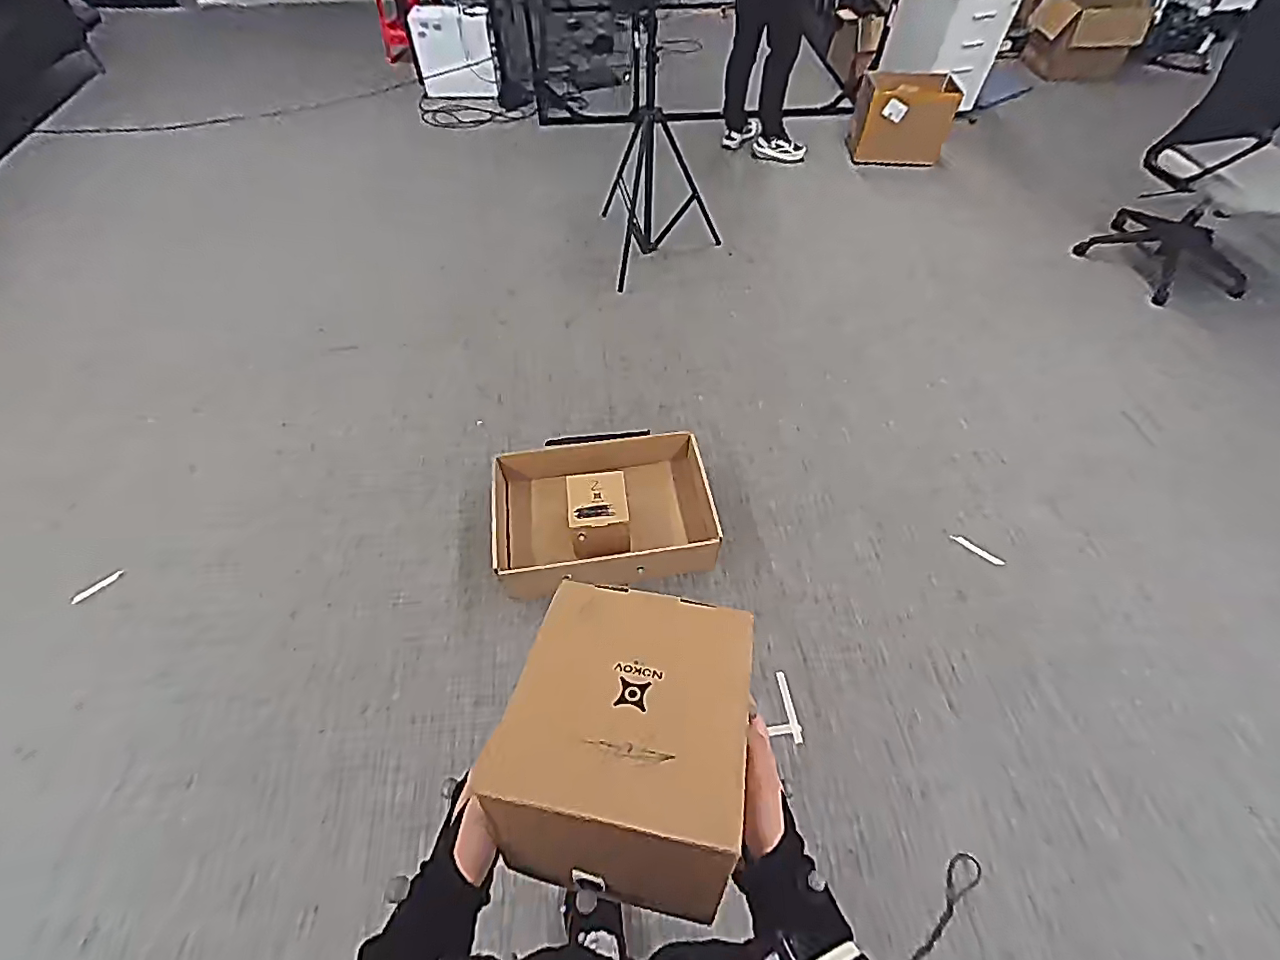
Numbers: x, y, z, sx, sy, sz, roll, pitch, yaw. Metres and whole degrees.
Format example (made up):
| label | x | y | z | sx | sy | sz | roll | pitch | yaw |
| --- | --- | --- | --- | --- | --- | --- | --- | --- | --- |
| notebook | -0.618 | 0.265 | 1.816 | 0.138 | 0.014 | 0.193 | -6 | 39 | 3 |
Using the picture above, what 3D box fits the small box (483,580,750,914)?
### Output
| label | x | y | z | sx | sy | sz | roll | pitch | yaw |
| --- | --- | --- | --- | --- | --- | --- | --- | --- | --- |
| small box | -0.007 | 0.213 | 0.443 | 0.168 | 0.176 | 0.179 | 7 | 40 | 8 |
